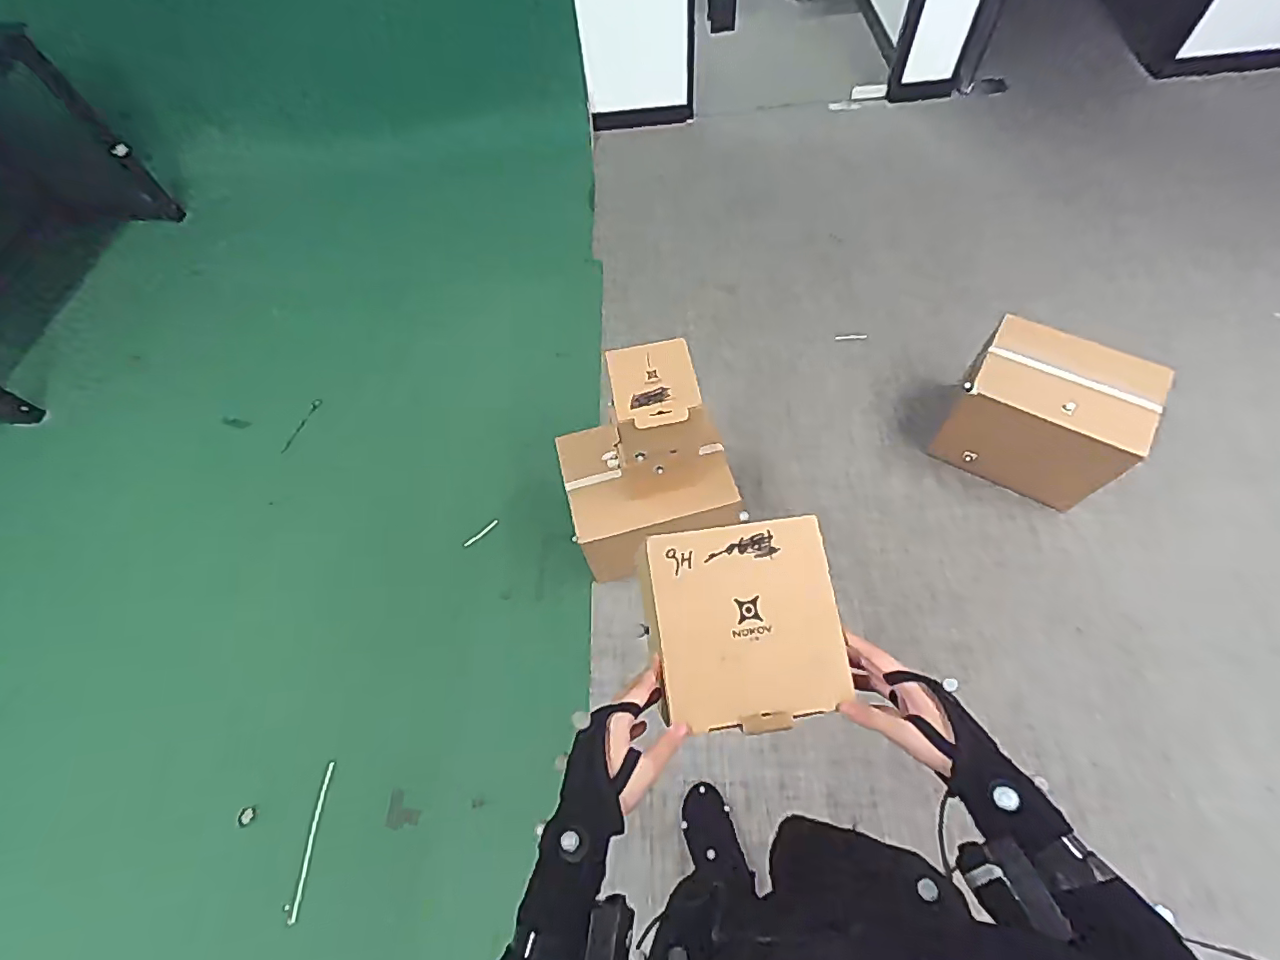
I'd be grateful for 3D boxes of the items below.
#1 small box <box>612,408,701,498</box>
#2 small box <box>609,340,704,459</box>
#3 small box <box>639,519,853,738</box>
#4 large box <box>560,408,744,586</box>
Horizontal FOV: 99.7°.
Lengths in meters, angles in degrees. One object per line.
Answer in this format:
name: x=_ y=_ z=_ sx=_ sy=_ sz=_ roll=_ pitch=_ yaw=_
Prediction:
small box: x=0.041 y=-0.073 z=1.261 sx=0.179 sy=0.176 sz=0.168 roll=-12 pitch=62 yaw=-2
small box: x=0.037 y=-0.156 z=1.120 sx=0.168 sy=0.176 sz=0.179 roll=-10 pitch=62 yaw=0
small box: x=0.092 y=0.145 z=0.560 sx=0.168 sy=0.176 sz=0.179 roll=-7 pitch=77 yaw=-5
large box: x=0.035 y=0.053 z=1.473 sx=0.408 sy=0.320 sz=0.320 roll=-16 pitch=60 yaw=-2
